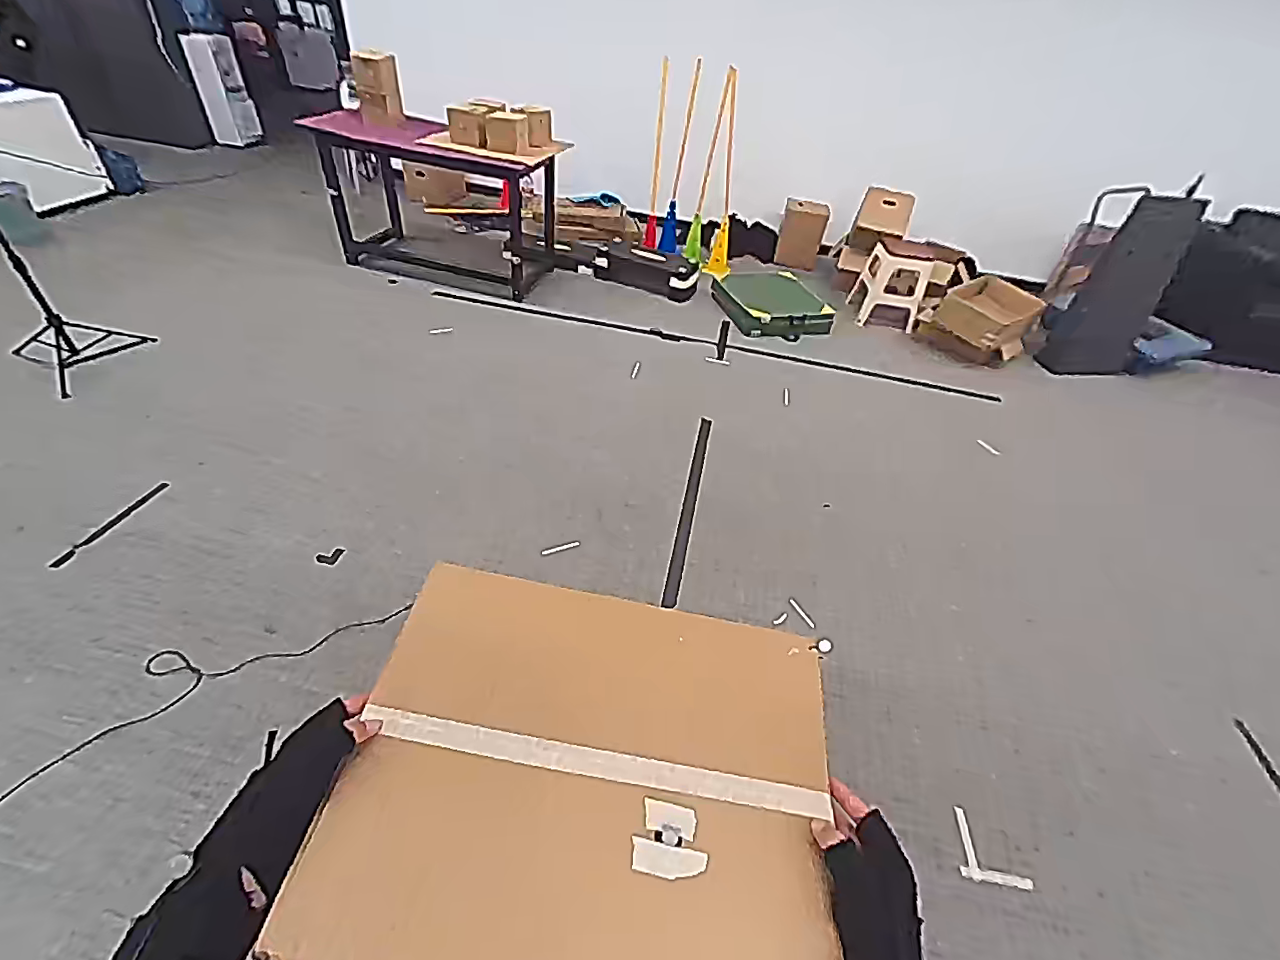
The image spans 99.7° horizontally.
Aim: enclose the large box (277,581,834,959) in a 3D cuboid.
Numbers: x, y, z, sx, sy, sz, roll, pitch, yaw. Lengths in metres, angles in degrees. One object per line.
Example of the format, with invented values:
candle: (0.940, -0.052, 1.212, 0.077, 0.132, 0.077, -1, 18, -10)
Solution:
large box: (-0.058, 0.348, 0.578, 0.408, 0.320, 0.320, 11, 49, -1)
